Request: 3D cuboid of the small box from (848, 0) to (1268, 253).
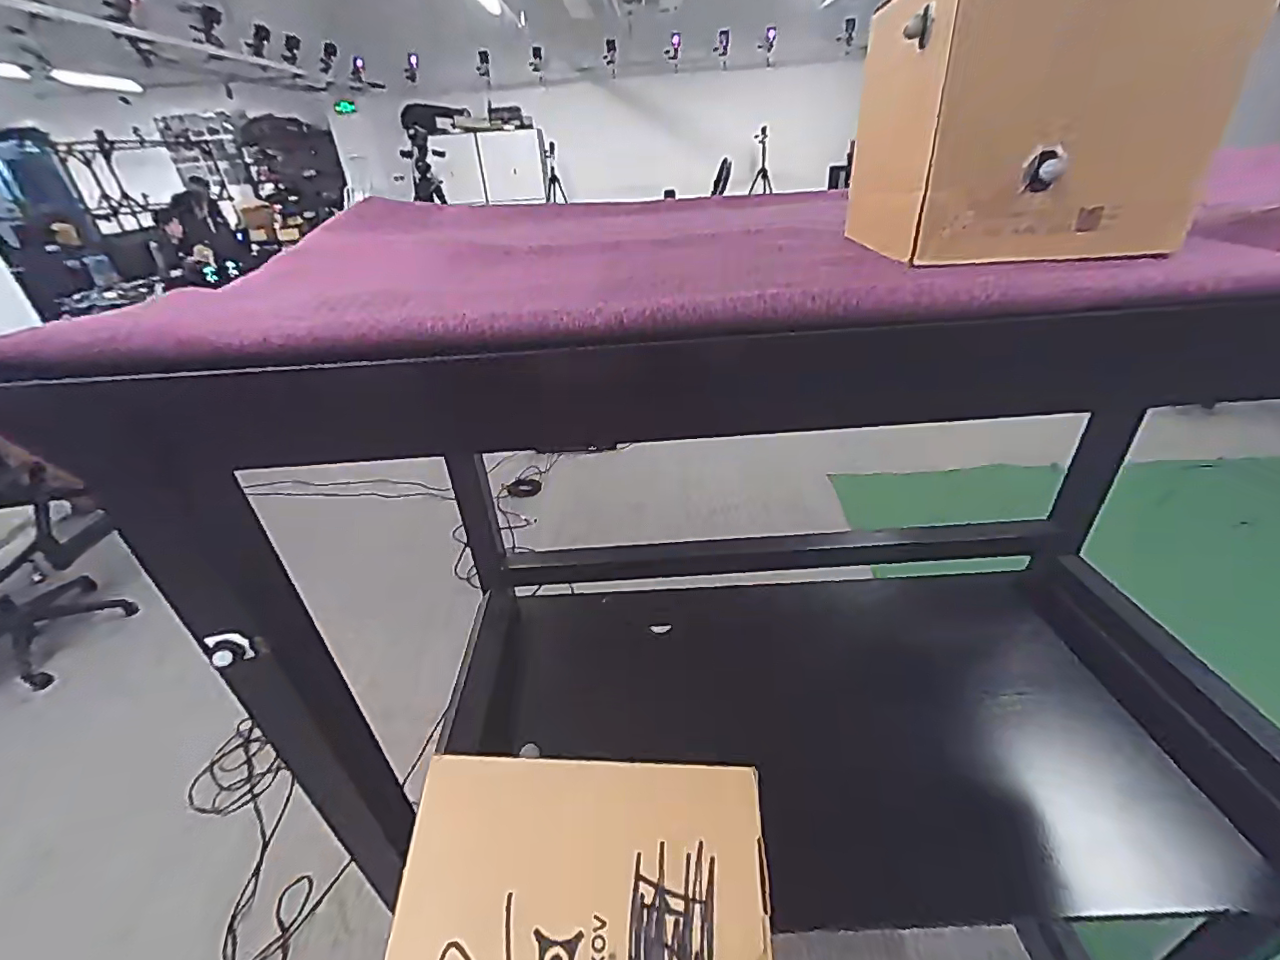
[{"bbox_3d":[0.259,-0.262,0.384,0.168,0.176,0.179,-2,31,5],"label":"small box"}]
